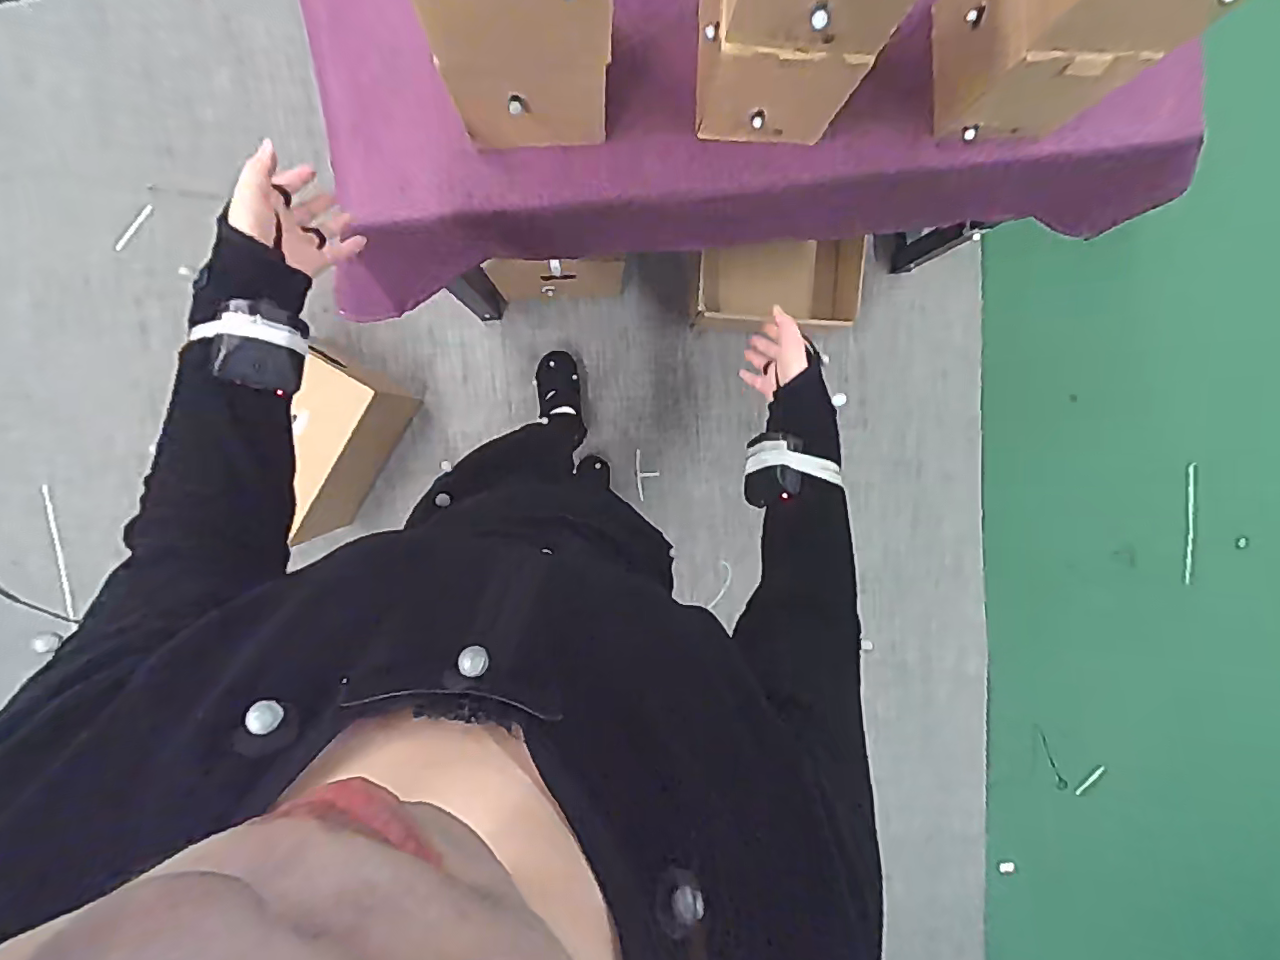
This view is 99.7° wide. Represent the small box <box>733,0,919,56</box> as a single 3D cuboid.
[{"bbox_3d":[0.184,-0.530,0.477,0.168,0.176,0.179,2,96,-4],"label":"small box"}]

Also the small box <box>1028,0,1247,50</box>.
[{"bbox_3d":[0.507,-0.538,0.497,0.179,0.176,0.168,-3,95,-3],"label":"small box"}]

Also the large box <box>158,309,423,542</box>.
[{"bbox_3d":[-0.791,-0.120,1.283,0.320,0.320,0.408,31,92,-7],"label":"large box"}]

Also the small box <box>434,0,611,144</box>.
[{"bbox_3d":[-0.125,-0.513,0.622,0.179,0.176,0.168,-4,97,-3],"label":"small box"}]

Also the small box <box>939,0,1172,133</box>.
[{"bbox_3d":[0.492,-0.552,0.659,0.168,0.176,0.179,-4,95,-3],"label":"small box"}]

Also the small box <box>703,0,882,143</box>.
[{"bbox_3d":[0.172,-0.539,0.641,0.168,0.176,0.179,1,96,-4],"label":"small box"}]
